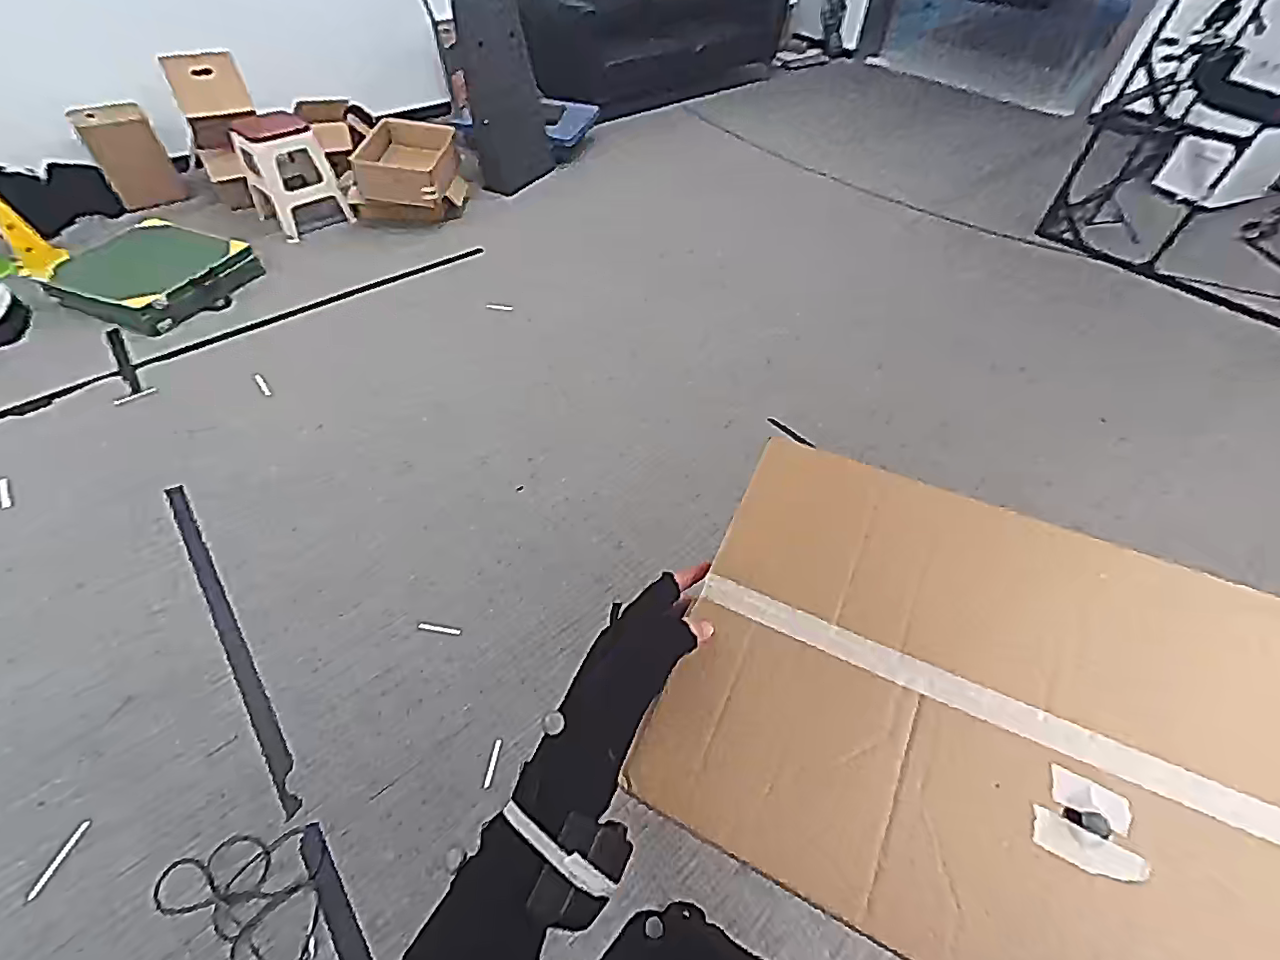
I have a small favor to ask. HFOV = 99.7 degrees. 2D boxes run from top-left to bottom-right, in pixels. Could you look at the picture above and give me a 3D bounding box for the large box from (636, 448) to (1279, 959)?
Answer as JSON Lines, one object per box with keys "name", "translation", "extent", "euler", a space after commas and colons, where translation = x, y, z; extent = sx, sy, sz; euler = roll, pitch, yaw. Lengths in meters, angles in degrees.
{"name": "large box", "translation": [0.252, 0.227, 0.511], "extent": [0.408, 0.320, 0.320], "euler": [21, 66, 19]}
